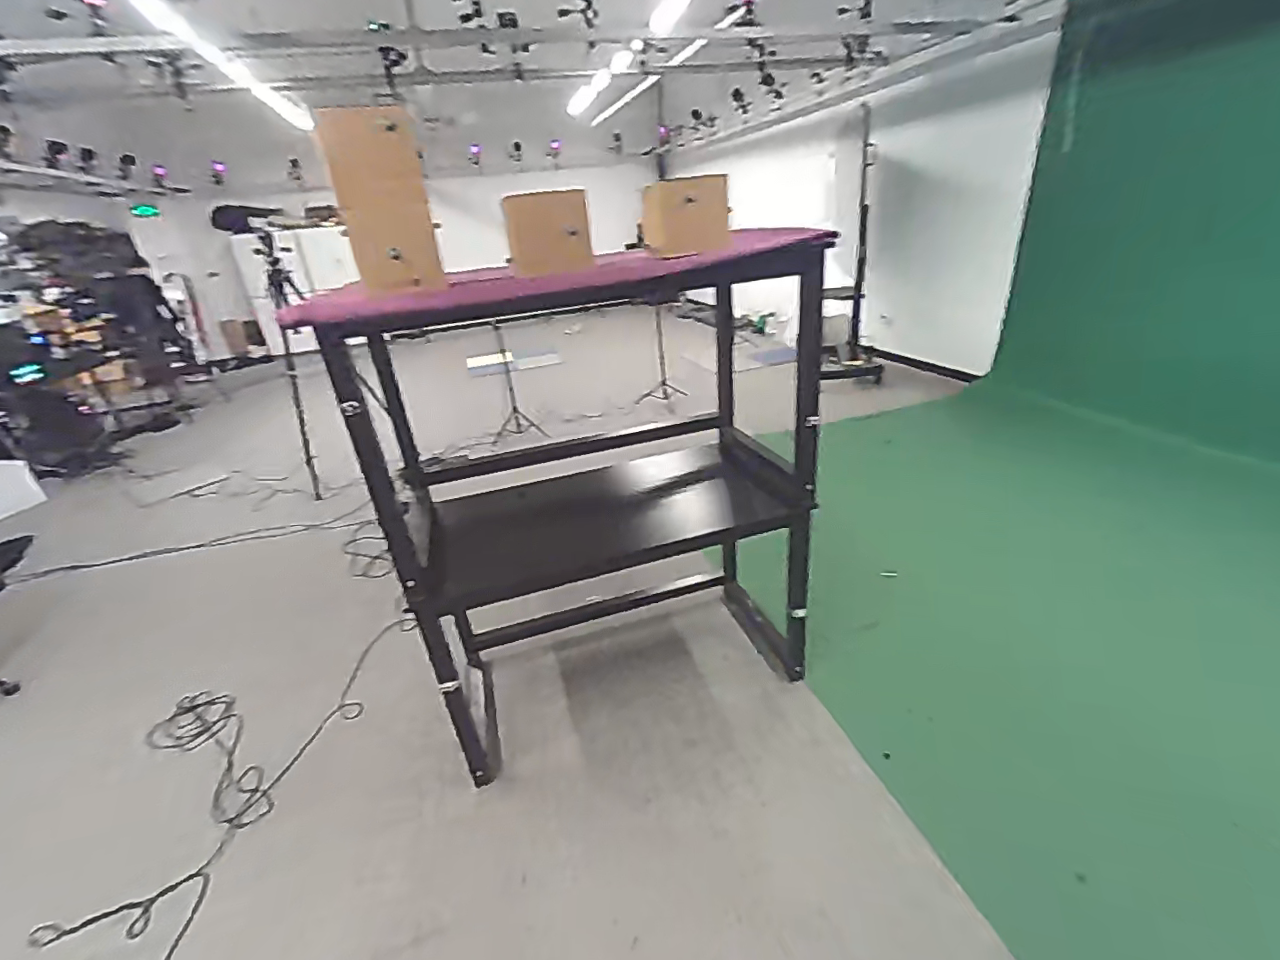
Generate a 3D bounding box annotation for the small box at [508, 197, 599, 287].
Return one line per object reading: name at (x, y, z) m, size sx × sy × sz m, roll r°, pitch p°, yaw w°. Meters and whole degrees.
small box at (-0.199, -0.554, 1.259) m, size 0.179 × 0.176 × 0.168 m, roll -13°, pitch 26°, yaw -14°

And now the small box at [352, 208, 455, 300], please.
small box at (-0.503, -0.490, 1.177) m, size 0.168 × 0.176 × 0.179 m, roll -11°, pitch 26°, yaw -15°

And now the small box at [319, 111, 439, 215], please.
small box at (-0.521, -0.634, 1.104) m, size 0.179 × 0.176 × 0.168 m, roll -13°, pitch 27°, yaw -17°

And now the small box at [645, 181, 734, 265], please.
small box at (0.125, -0.637, 1.359) m, size 0.179 × 0.176 × 0.168 m, roll -11°, pitch 24°, yaw -12°
